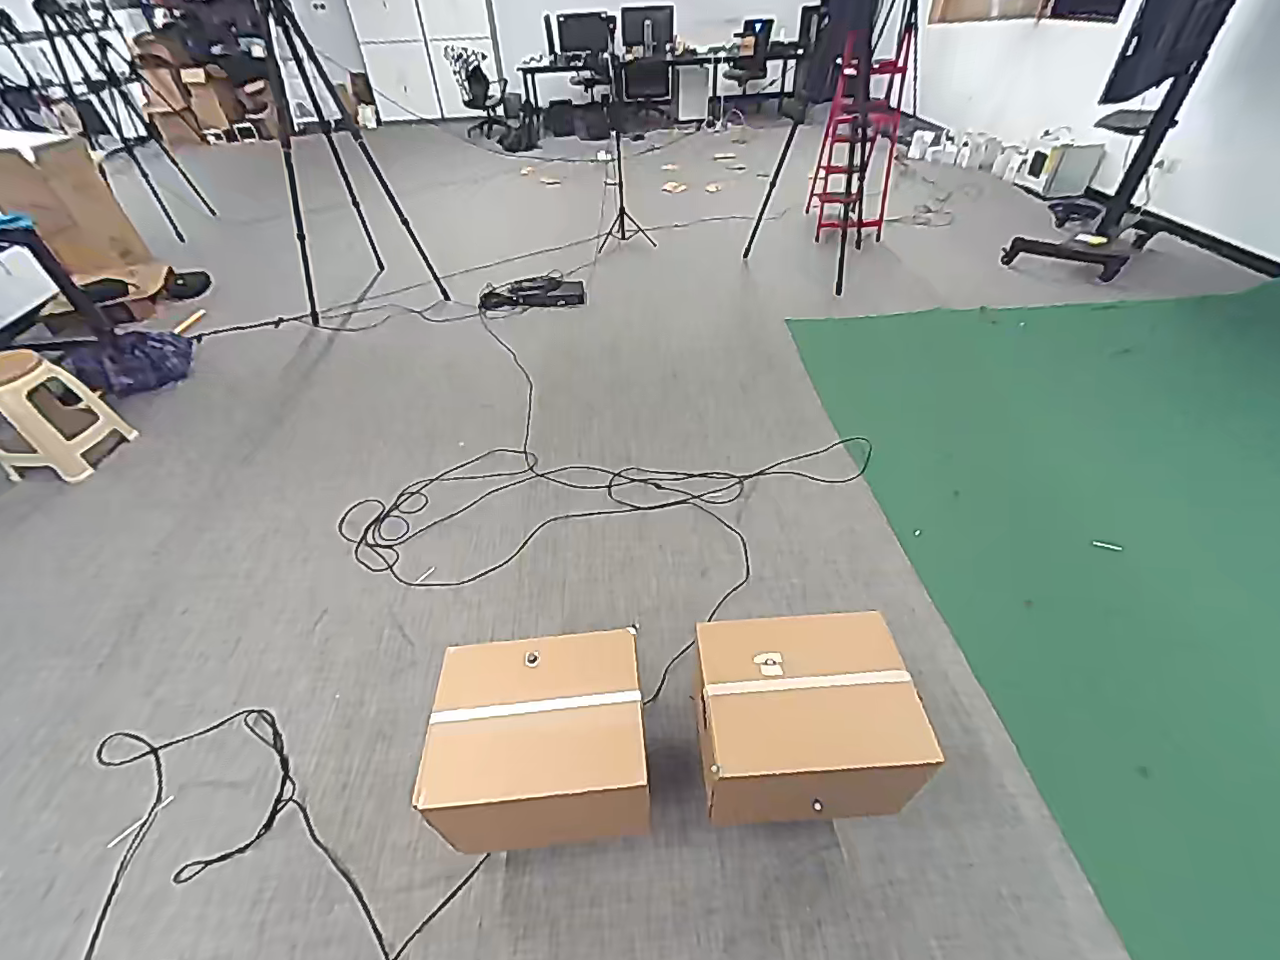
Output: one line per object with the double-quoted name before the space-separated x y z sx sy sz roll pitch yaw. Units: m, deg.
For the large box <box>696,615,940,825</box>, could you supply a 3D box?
"large box" 0.342 0.523 1.173 0.408 0.320 0.320 -4 43 0
